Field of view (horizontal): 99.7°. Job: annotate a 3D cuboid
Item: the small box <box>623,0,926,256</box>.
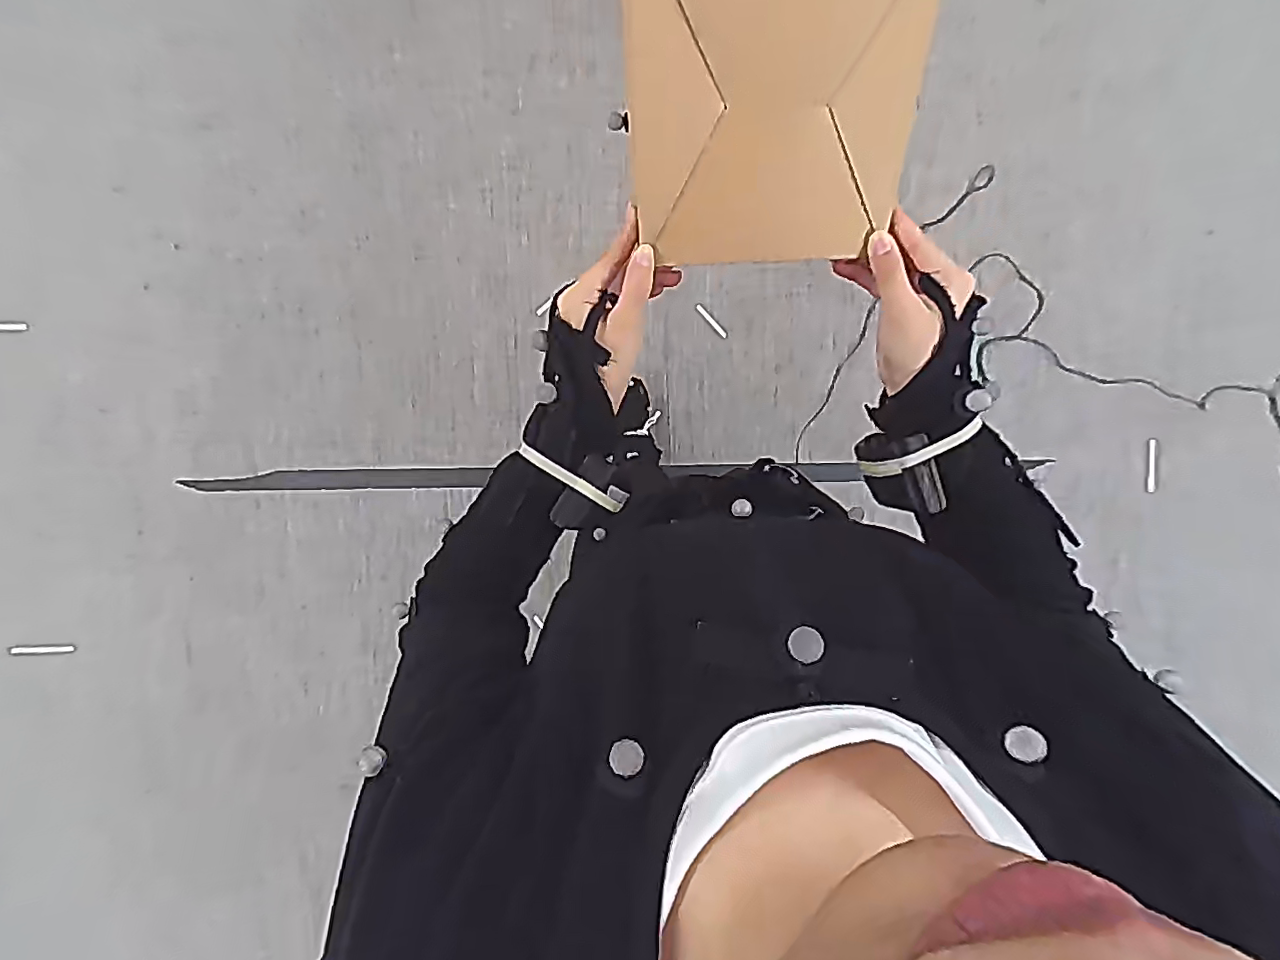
[{"bbox_3d":[0.074,-0.270,0.384,0.168,0.176,0.179,-4,127,-2],"label":"small box"}]
